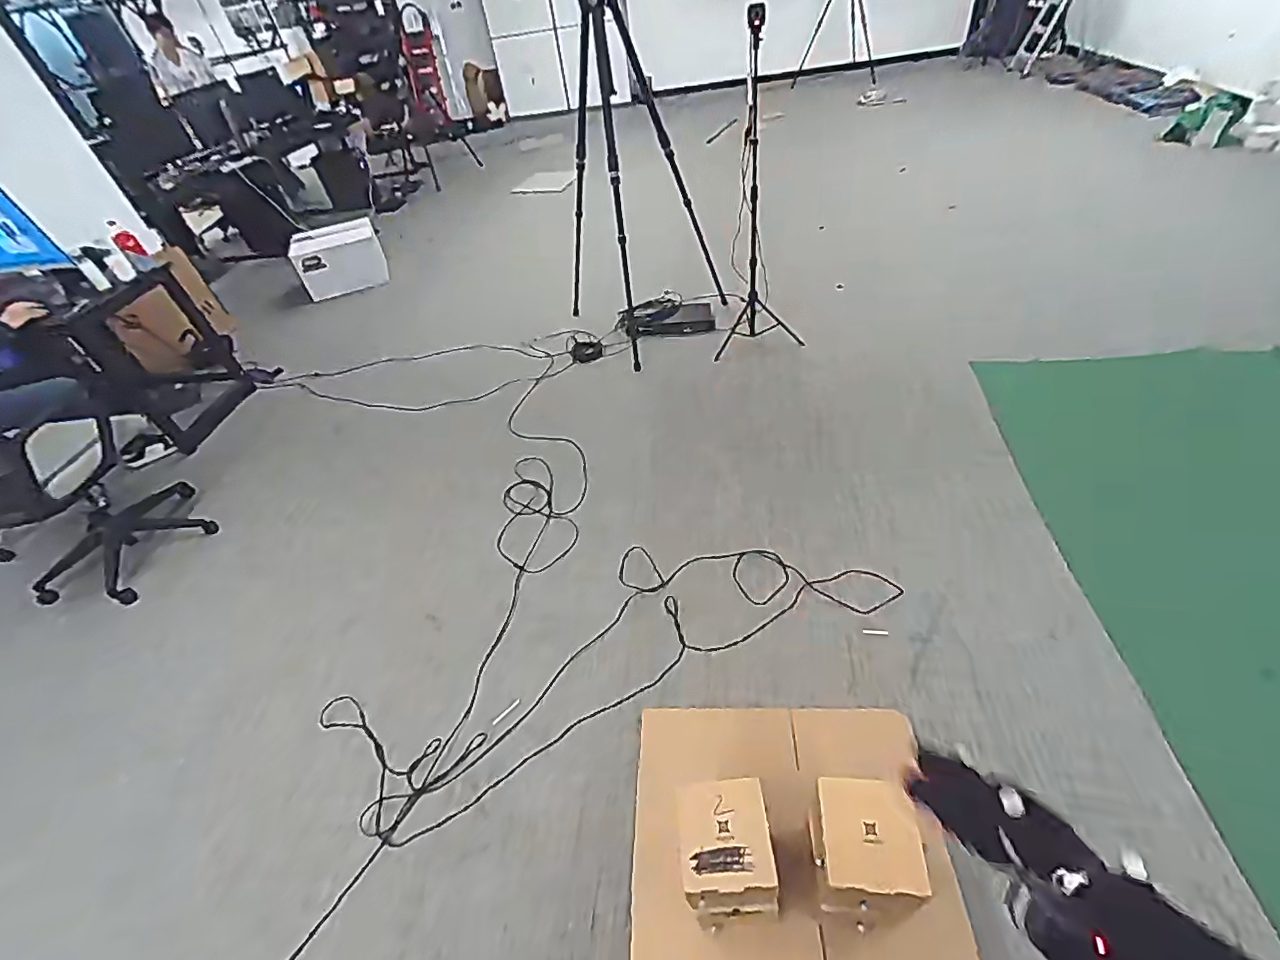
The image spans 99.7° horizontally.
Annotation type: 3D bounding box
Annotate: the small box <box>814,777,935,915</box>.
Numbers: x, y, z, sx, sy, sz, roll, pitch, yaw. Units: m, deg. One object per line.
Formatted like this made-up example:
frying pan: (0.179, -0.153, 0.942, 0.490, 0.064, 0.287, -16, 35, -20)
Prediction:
small box: (0.423, 0.682, 1.009, 0.168, 0.176, 0.179, -2, 45, 11)

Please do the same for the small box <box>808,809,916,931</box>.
small box: (0.445, 0.803, 1.116, 0.168, 0.176, 0.179, -5, 44, 9)

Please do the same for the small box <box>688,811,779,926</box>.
small box: (0.196, 0.824, 1.142, 0.168, 0.176, 0.179, -7, 43, 5)
